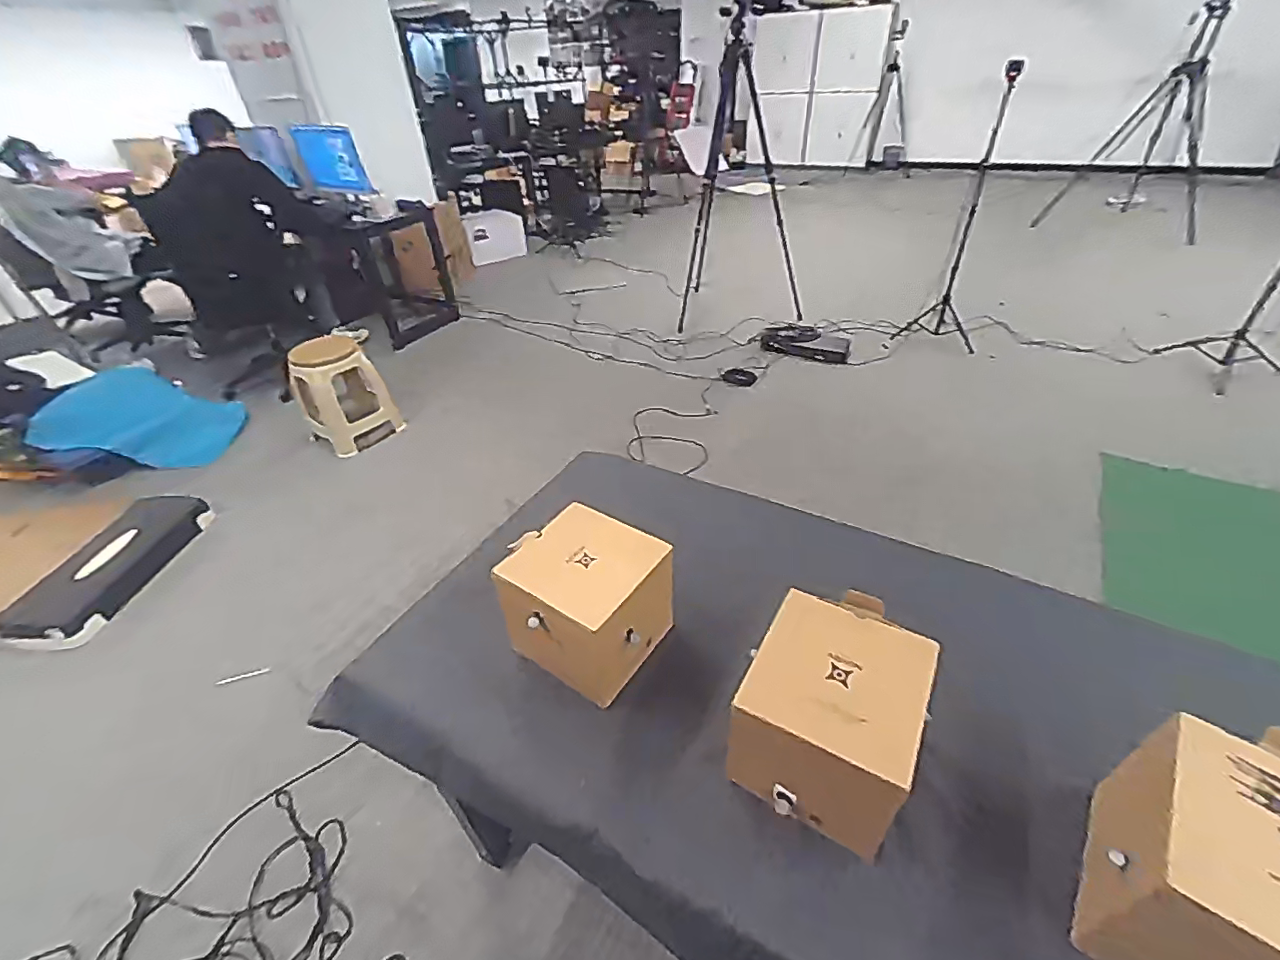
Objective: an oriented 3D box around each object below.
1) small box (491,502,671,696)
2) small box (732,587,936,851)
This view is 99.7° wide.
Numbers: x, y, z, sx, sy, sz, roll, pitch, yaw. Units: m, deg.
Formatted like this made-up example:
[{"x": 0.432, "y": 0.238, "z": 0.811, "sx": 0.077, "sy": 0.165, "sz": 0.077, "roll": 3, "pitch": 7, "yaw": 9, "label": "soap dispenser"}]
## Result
[{"x": -0.071, "y": 0.164, "z": 0.745, "sx": 0.179, "sy": 0.176, "sz": 0.168, "roll": 21, "pitch": 43, "yaw": 28, "label": "small box"}, {"x": 0.209, "y": 0.259, "z": 0.603, "sx": 0.168, "sy": 0.176, "sz": 0.179, "roll": 17, "pitch": 42, "yaw": 26, "label": "small box"}]
